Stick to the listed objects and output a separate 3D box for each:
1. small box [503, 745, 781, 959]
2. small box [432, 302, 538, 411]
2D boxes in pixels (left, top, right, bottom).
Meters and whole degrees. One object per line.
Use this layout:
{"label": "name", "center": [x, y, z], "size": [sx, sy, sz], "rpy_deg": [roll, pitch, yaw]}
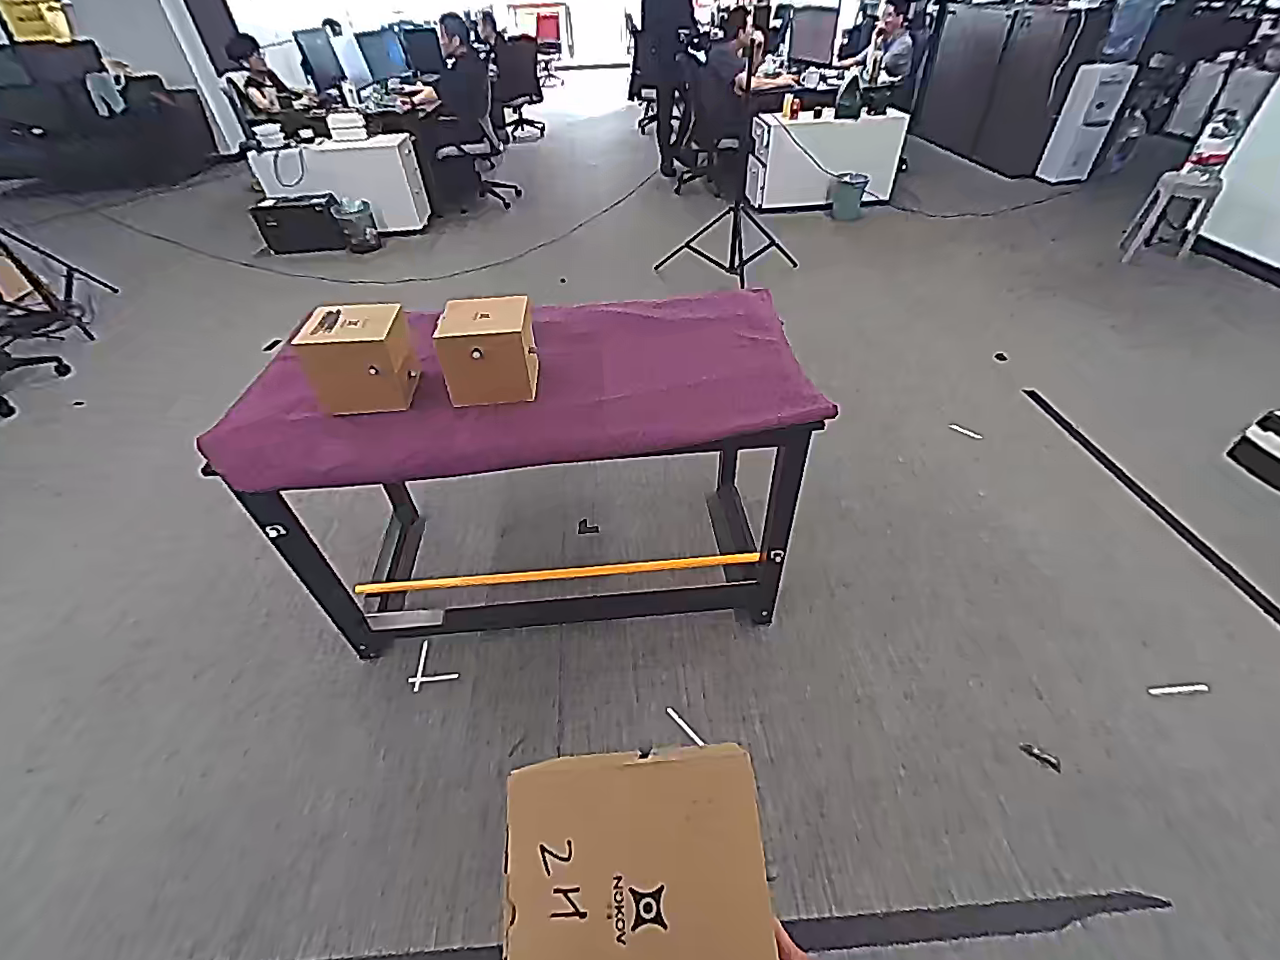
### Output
{"label": "small box", "center": [0.005, 0.305, 0.420], "size": [0.179, 0.176, 0.168], "rpy_deg": [-7, 65, 4]}
{"label": "small box", "center": [-0.322, -0.265, 1.164], "size": [0.179, 0.176, 0.168], "rpy_deg": [-5, 42, -2]}
